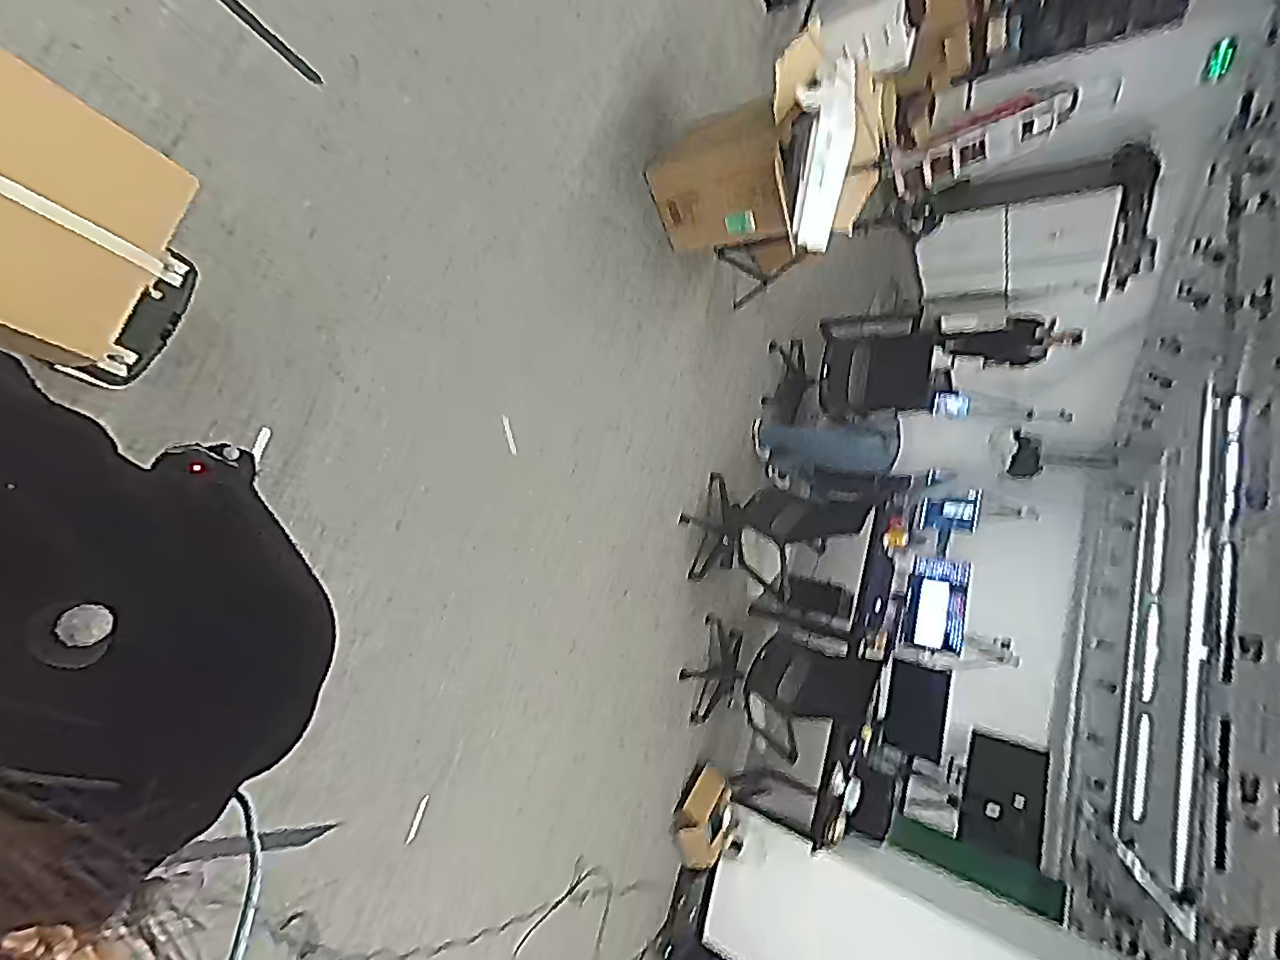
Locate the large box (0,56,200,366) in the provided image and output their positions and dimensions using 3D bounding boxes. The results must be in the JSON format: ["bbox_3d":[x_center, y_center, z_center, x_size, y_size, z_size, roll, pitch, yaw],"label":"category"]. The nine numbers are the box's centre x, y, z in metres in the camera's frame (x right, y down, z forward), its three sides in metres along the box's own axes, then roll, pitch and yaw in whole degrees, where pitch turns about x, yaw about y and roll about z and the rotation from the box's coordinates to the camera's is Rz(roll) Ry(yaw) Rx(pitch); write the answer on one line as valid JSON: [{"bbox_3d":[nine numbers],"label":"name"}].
[{"bbox_3d":[-0.922,-0.380,0.719,0.408,0.320,0.320,32,70,-50],"label":"large box"}]
